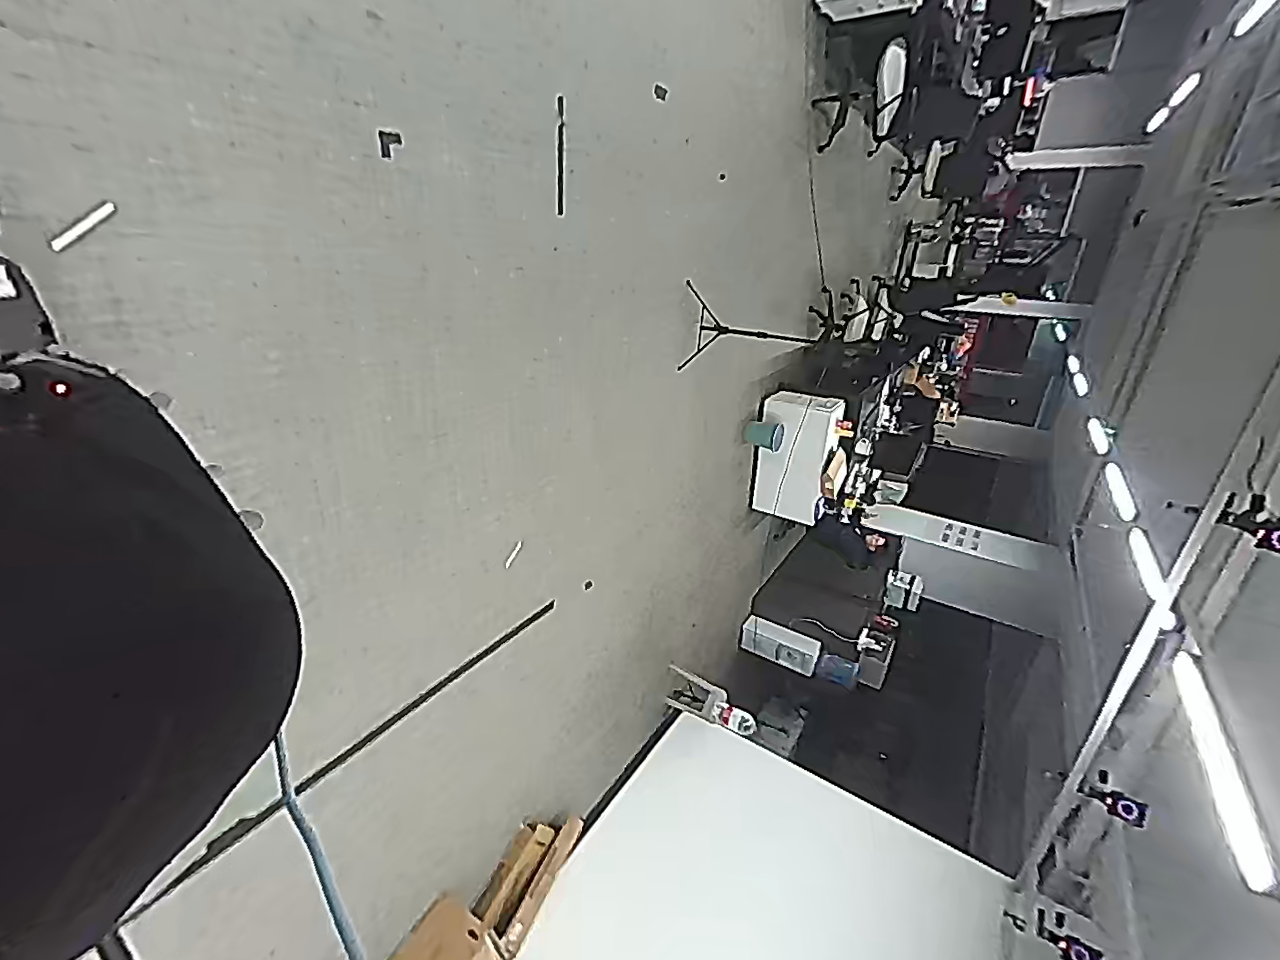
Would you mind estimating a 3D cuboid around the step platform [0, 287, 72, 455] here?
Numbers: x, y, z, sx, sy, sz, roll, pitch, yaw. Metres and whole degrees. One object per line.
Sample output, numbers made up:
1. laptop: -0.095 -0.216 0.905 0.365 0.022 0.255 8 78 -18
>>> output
1. step platform: -1.301 -0.139 0.766 0.684 0.204 0.286 -21 121 -52
